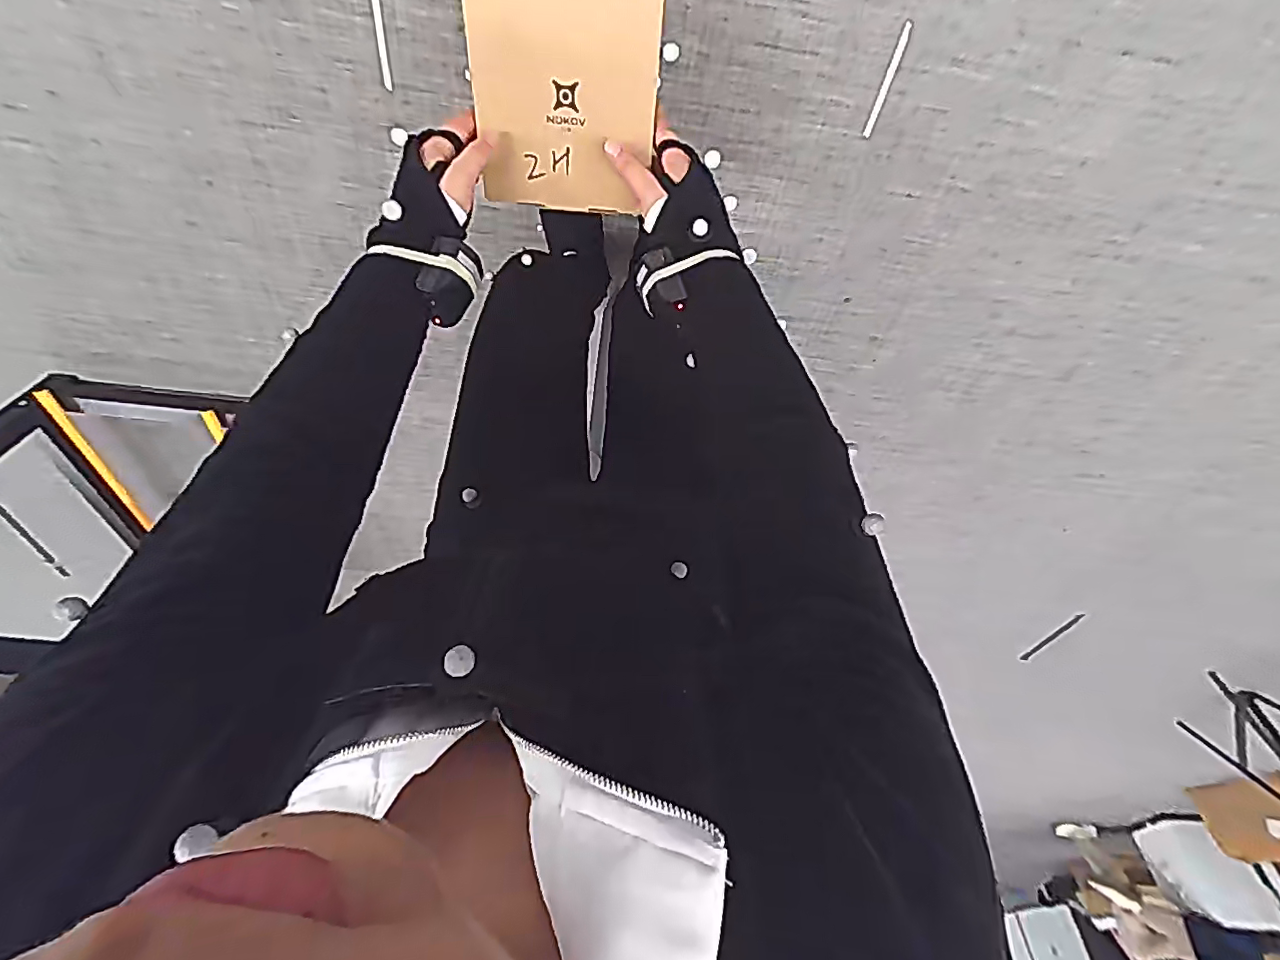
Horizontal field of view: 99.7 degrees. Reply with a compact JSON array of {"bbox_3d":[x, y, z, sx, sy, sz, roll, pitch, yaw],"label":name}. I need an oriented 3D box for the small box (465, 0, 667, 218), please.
[{"bbox_3d":[-0.065,-0.388,0.541,0.168,0.176,0.179,4,135,-2],"label":"small box"}]
